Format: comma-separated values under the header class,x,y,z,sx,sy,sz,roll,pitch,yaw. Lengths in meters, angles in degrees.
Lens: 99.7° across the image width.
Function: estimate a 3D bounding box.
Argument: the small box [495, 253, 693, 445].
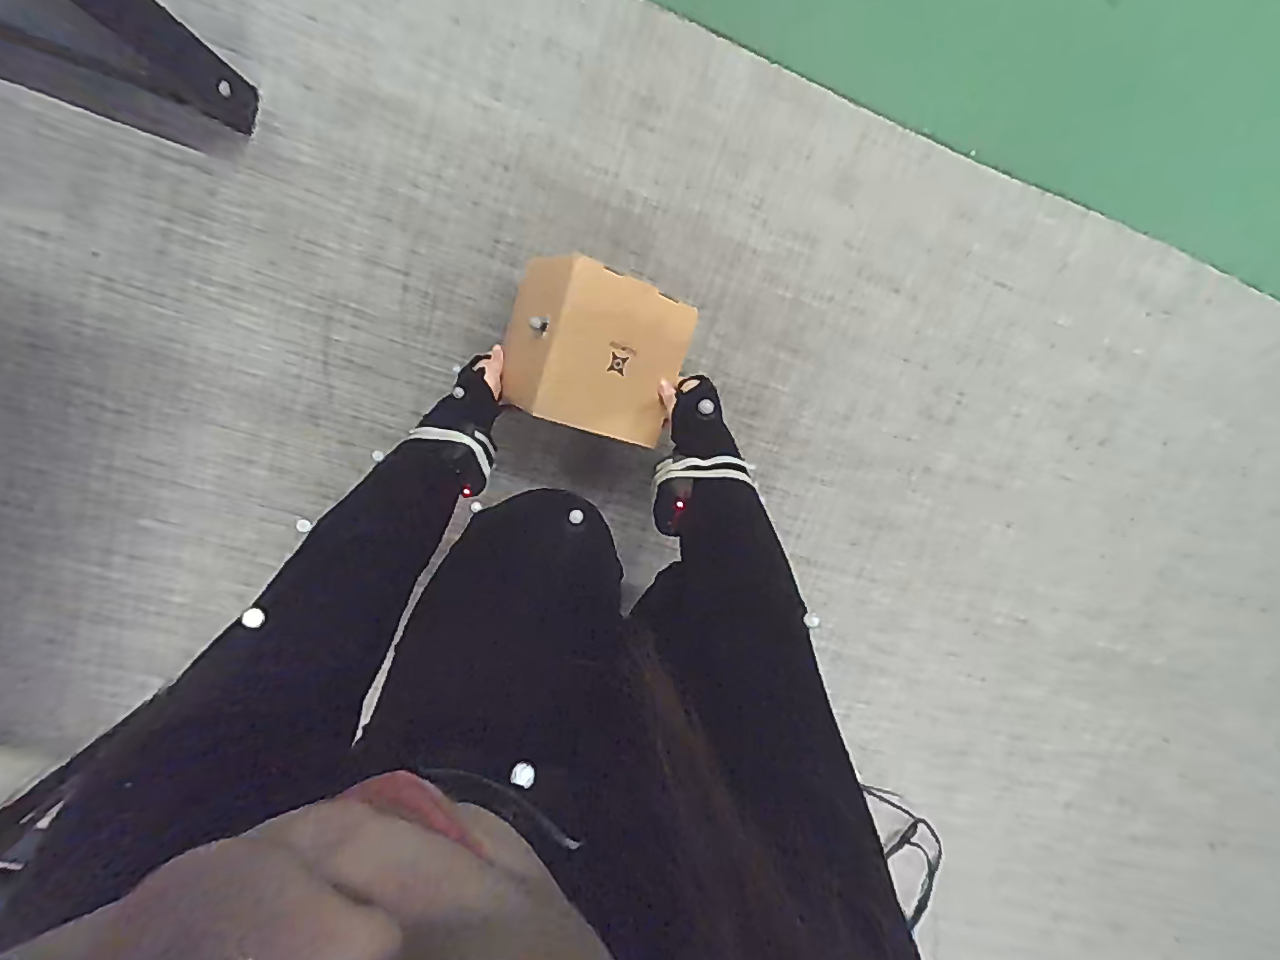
class,x,y,z,sx,sy,sz,roll,pitch,yaw
small box,-0.067,-0.162,0.676,0.168,0.176,0.179,12,101,-34
